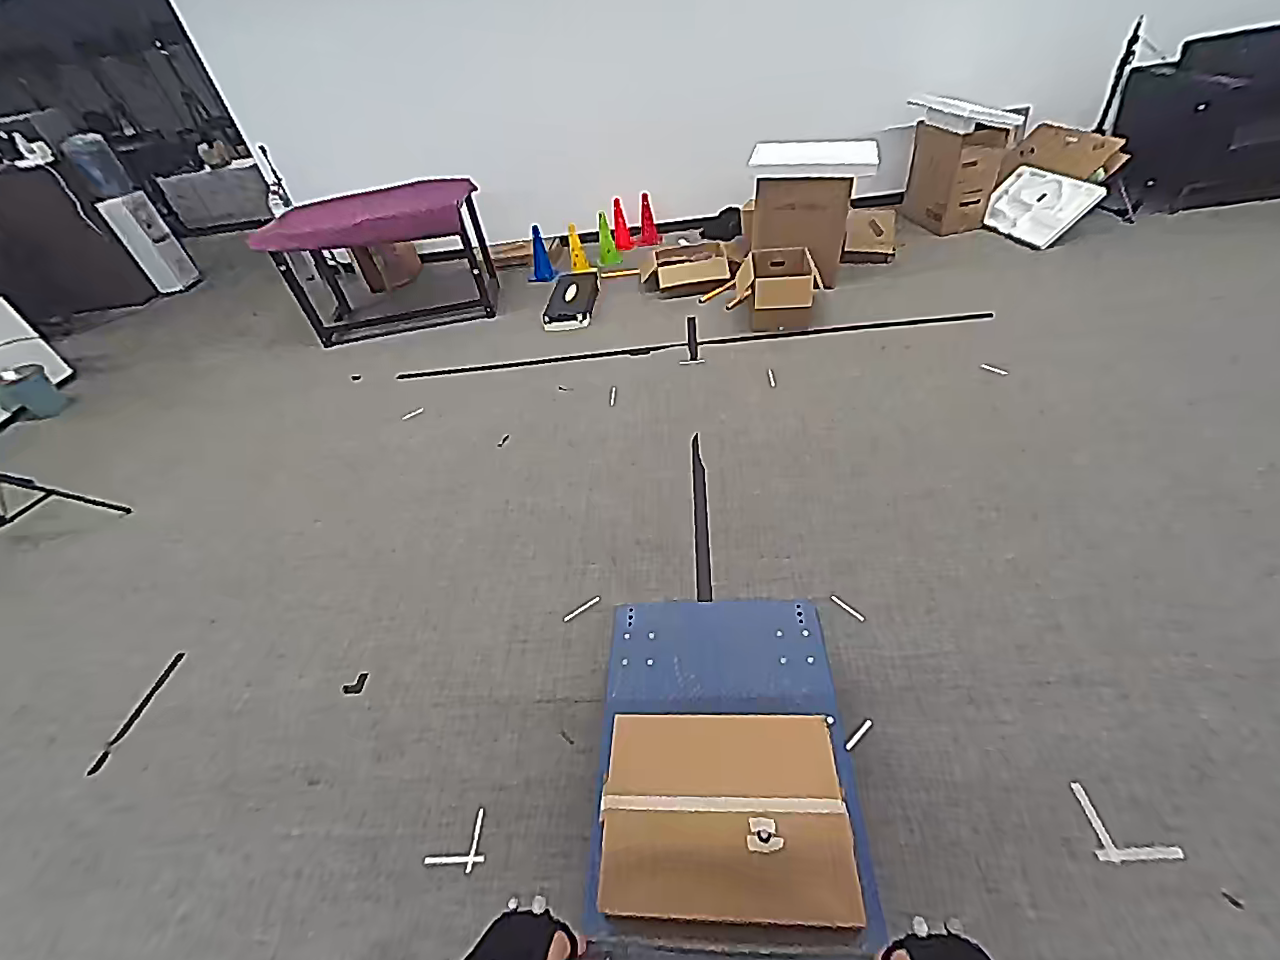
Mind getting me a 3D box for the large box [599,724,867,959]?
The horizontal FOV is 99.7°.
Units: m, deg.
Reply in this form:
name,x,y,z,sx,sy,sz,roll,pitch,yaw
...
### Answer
name,x,y,z,sx,sy,sz,roll,pitch,yaw
large box,0.155,0.676,1.004,0.408,0.320,0.320,-3,42,7
